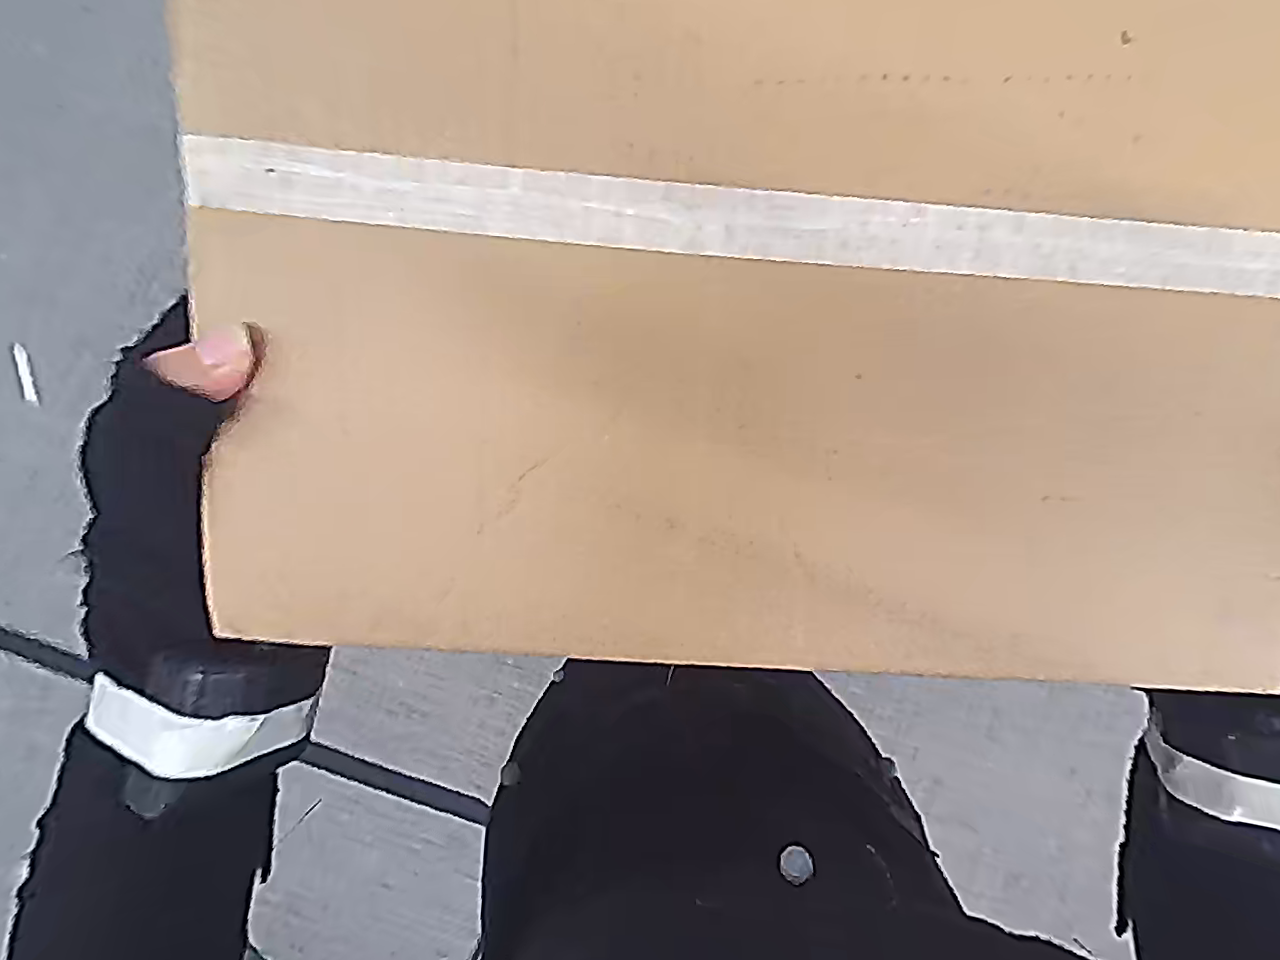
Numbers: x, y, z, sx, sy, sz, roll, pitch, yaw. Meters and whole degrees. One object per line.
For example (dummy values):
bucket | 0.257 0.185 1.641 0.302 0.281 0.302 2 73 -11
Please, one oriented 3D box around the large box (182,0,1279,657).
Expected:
large box | 0.045 -0.107 0.340 0.408 0.320 0.320 2 99 -3
